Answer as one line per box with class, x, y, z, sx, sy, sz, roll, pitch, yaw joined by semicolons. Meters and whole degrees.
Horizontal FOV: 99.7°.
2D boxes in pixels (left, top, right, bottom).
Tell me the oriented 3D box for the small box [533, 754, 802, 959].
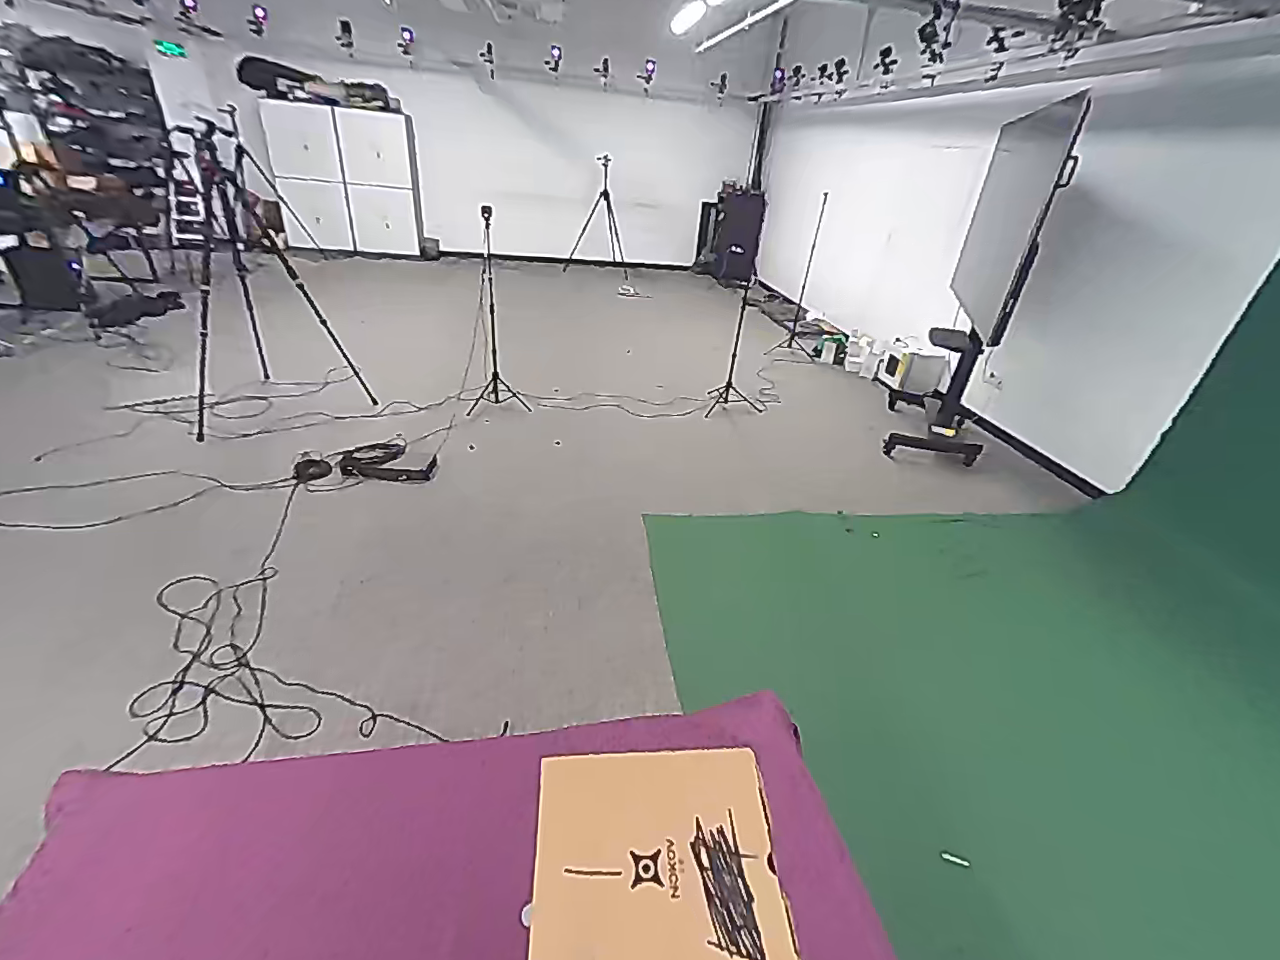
small box;0.011;0.339;0.429;0.179;0.176;0.168;0;38;-4
